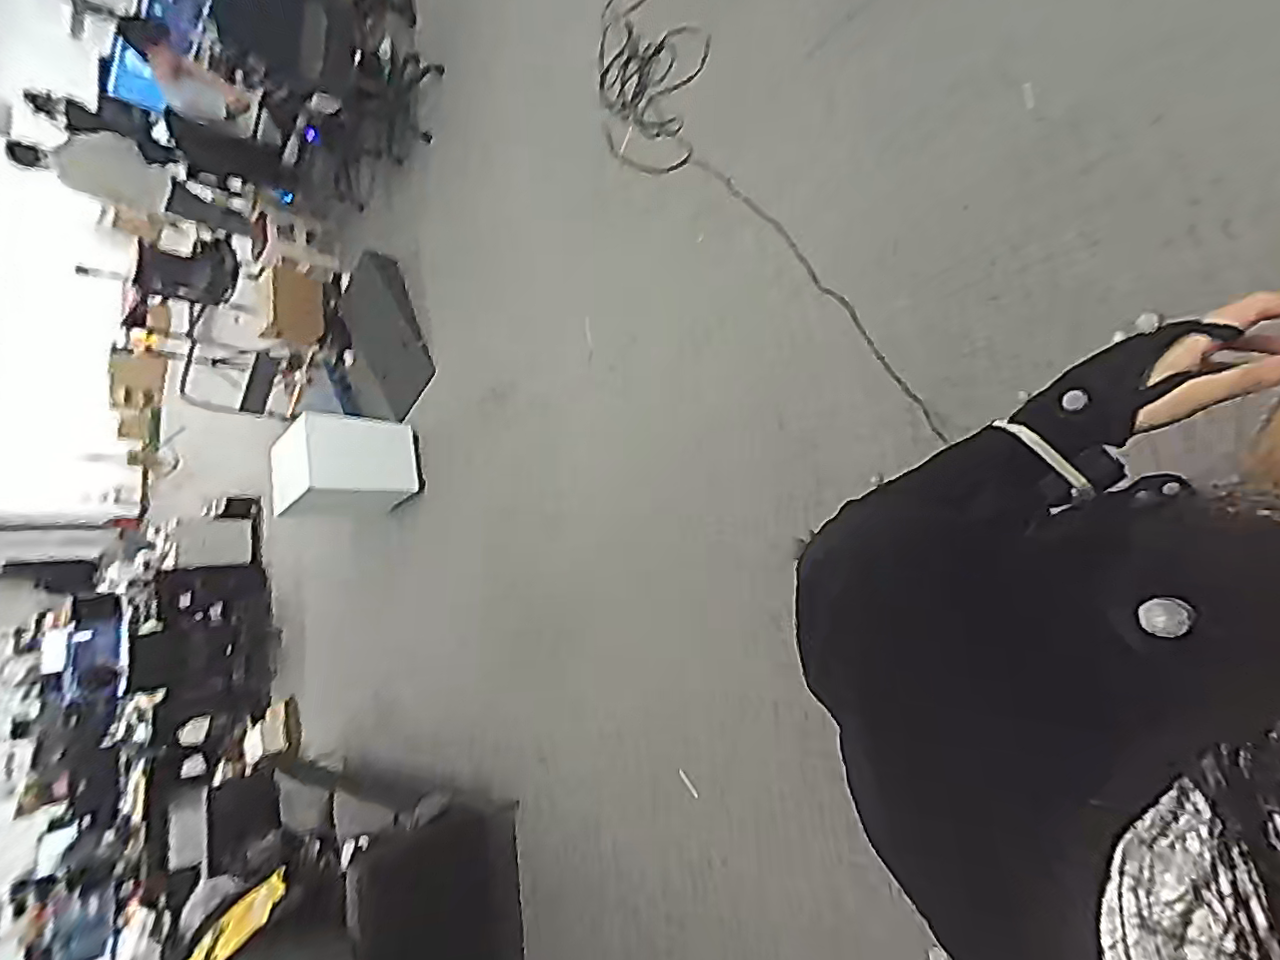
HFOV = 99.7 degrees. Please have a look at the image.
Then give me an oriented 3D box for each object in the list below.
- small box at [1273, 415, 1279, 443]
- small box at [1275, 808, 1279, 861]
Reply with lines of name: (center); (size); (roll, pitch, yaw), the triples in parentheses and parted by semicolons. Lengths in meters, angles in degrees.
small box: (0.512, -0.090, 0.296); (0.168, 0.176, 0.179); (31, 128, 42)
small box: (1.181, 0.673, 0.875); (0.168, 0.176, 0.179); (-8, 82, 40)
